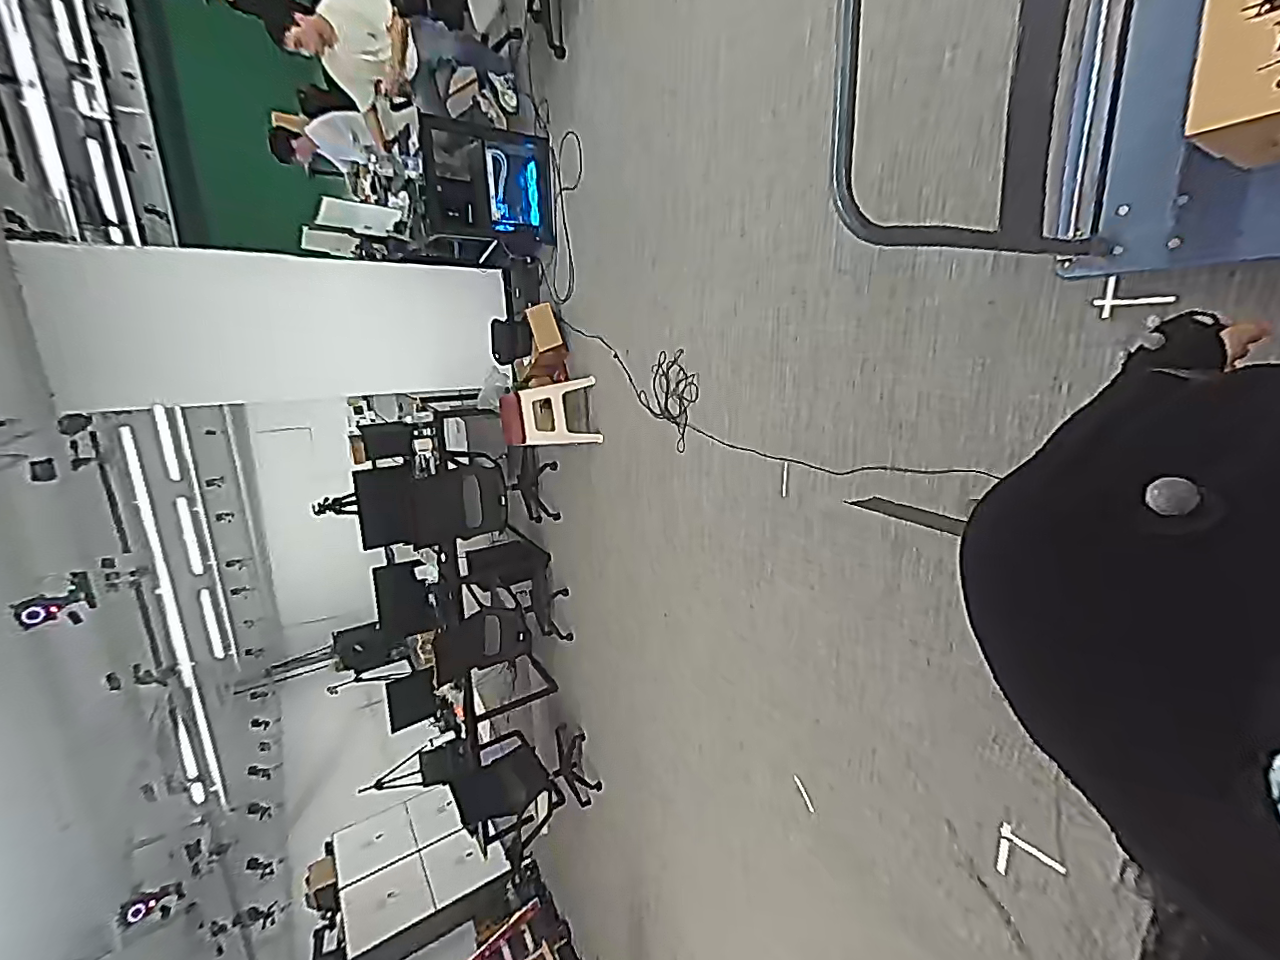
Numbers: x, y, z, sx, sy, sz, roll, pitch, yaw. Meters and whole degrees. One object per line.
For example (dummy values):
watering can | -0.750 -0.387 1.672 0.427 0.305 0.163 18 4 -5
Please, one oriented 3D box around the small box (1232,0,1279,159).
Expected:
small box | 0.955 -0.556 0.724 0.168 0.176 0.179 25 120 53
